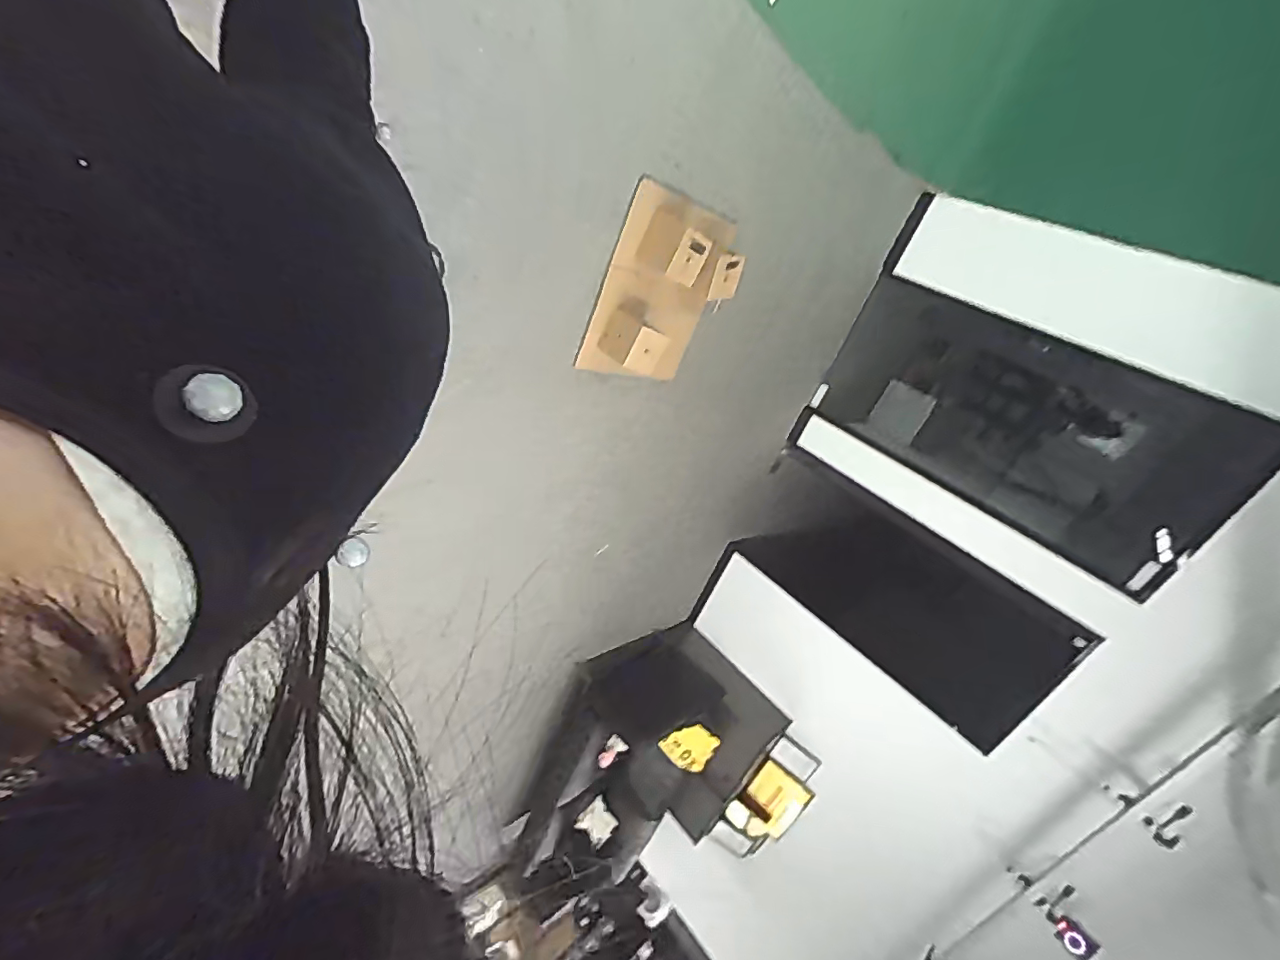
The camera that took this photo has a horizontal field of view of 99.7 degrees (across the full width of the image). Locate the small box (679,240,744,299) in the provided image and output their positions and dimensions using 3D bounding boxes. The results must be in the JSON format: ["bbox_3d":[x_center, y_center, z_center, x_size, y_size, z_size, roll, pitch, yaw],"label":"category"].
[{"bbox_3d":[0.277,-0.835,2.133,0.168,0.176,0.179,-20,139,-39],"label":"small box"}]

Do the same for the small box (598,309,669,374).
[{"bbox_3d":[-0.030,-0.531,2.062,0.179,0.176,0.168,3,122,-53],"label":"small box"}]
